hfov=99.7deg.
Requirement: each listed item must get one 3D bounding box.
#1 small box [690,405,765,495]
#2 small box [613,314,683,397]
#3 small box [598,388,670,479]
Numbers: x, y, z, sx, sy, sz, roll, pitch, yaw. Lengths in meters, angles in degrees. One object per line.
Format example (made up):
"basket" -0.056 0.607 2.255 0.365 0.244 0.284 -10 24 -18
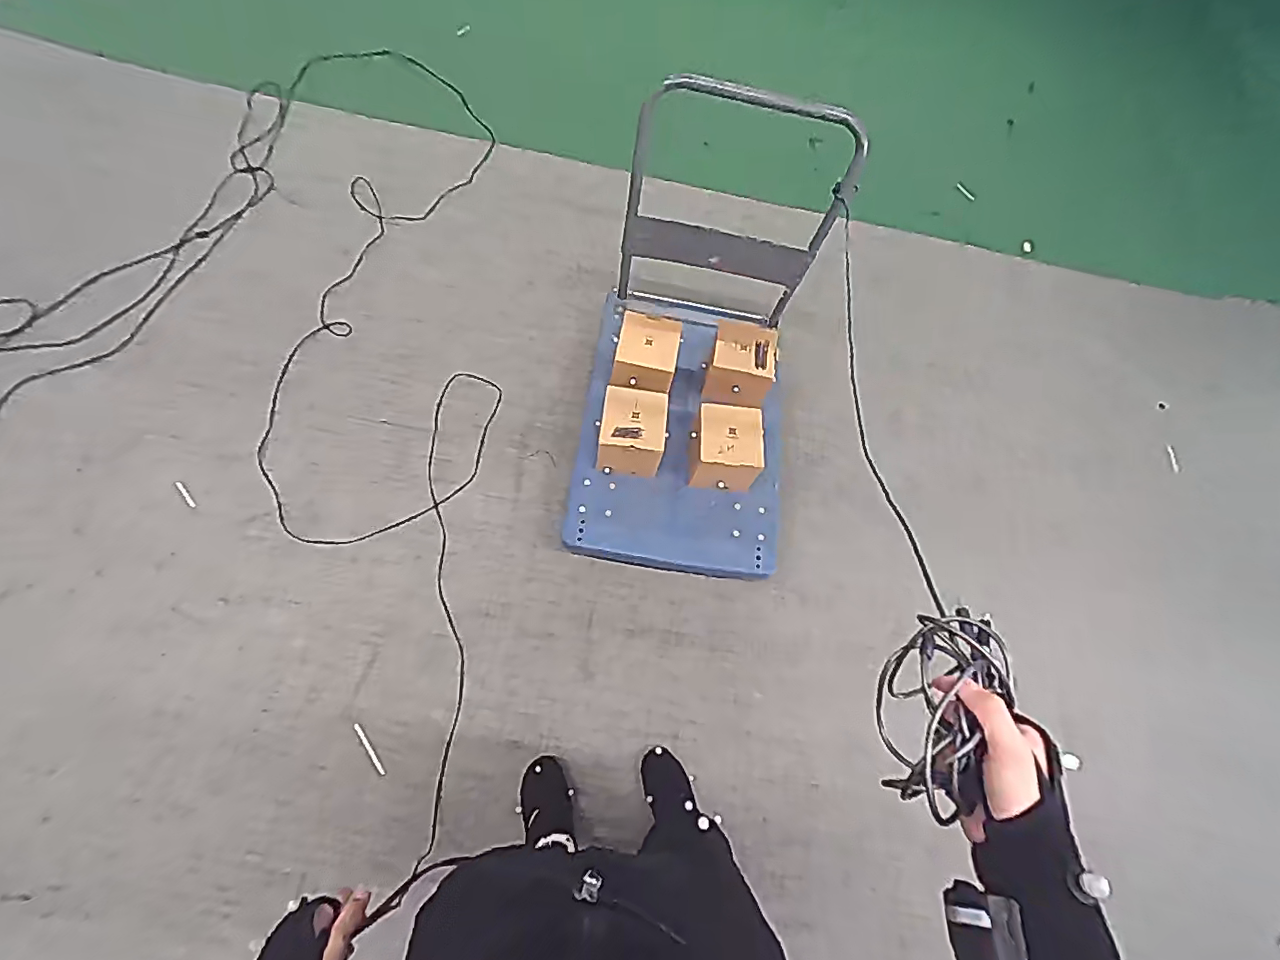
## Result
"small box" 0.231 -0.077 1.461 0.168 0.176 0.179 6 65 -4
"small box" 0.019 -0.341 1.549 0.168 0.176 0.179 11 65 -3
"small box" -0.020 -0.118 1.445 0.168 0.176 0.179 8 65 -5
